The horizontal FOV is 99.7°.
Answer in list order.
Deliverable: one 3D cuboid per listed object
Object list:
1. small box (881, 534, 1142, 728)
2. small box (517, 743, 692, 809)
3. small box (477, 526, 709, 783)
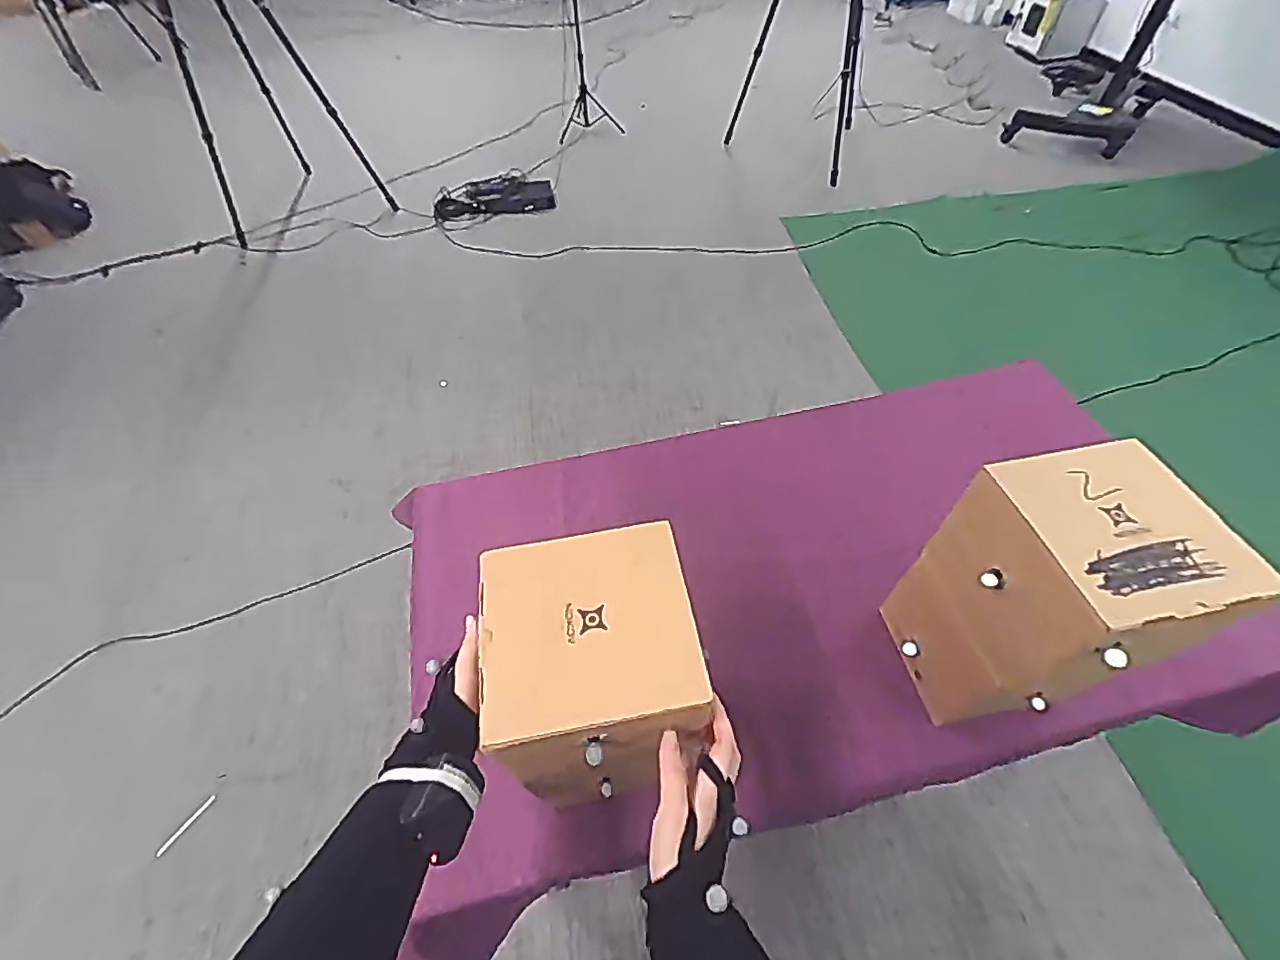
[{"bbox_3d":[0.437,0.191,0.674,0.179,0.176,0.168,-10,52,-4],"label":"small box"},{"bbox_3d":[-0.042,0.270,0.634,0.179,0.176,0.168,-9,52,-5],"label":"small box"},{"bbox_3d":[-0.043,0.167,0.507,0.179,0.176,0.168,-10,52,-4],"label":"small box"}]
